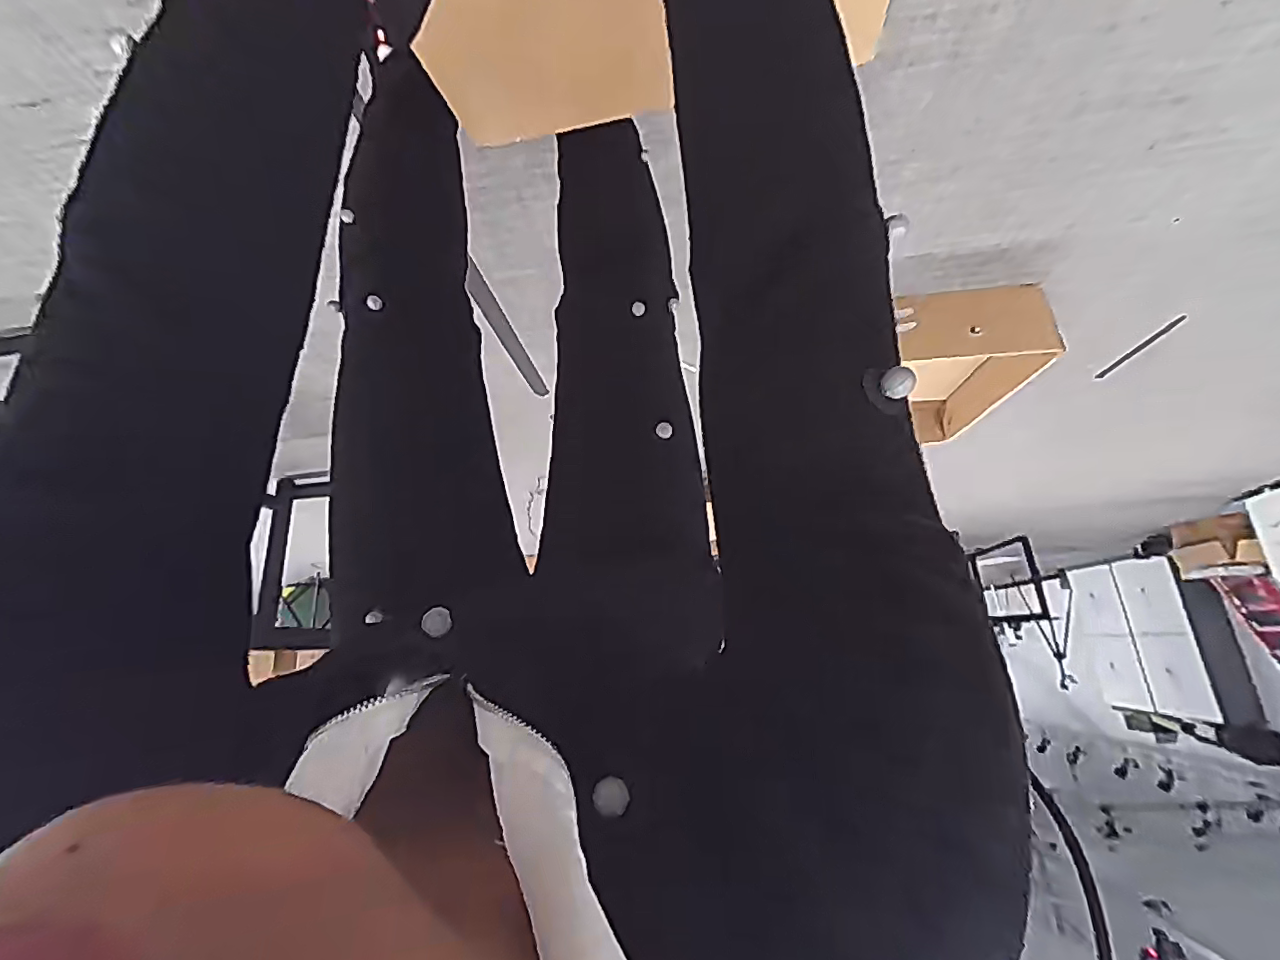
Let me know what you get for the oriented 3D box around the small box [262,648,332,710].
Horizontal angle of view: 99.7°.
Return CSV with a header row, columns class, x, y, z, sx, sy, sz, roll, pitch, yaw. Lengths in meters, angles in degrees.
class,x,y,z,sx,sy,sz,roll,pitch,yaw
small box,-1.089,0.613,1.683,0.179,0.176,0.168,-7,162,12
